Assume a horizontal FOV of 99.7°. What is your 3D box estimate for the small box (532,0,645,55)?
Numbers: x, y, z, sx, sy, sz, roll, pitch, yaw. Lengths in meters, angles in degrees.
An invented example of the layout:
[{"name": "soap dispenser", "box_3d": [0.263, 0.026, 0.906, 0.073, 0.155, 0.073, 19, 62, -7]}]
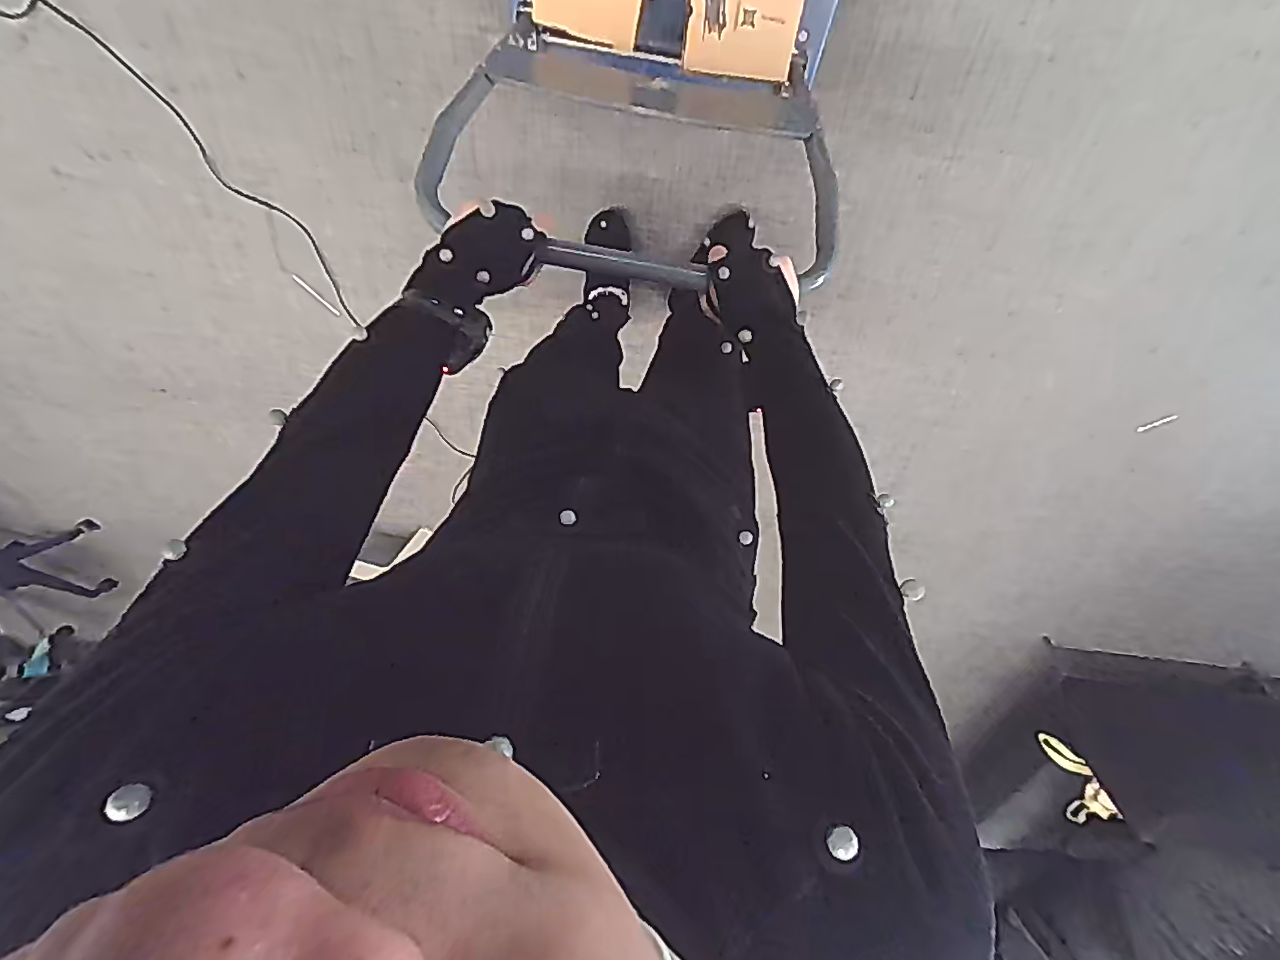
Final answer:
[{"name": "small box", "box_3d": [-0.066, -0.822, 0.856, 0.168, 0.176, 0.179, 13, 140, -8]}]
